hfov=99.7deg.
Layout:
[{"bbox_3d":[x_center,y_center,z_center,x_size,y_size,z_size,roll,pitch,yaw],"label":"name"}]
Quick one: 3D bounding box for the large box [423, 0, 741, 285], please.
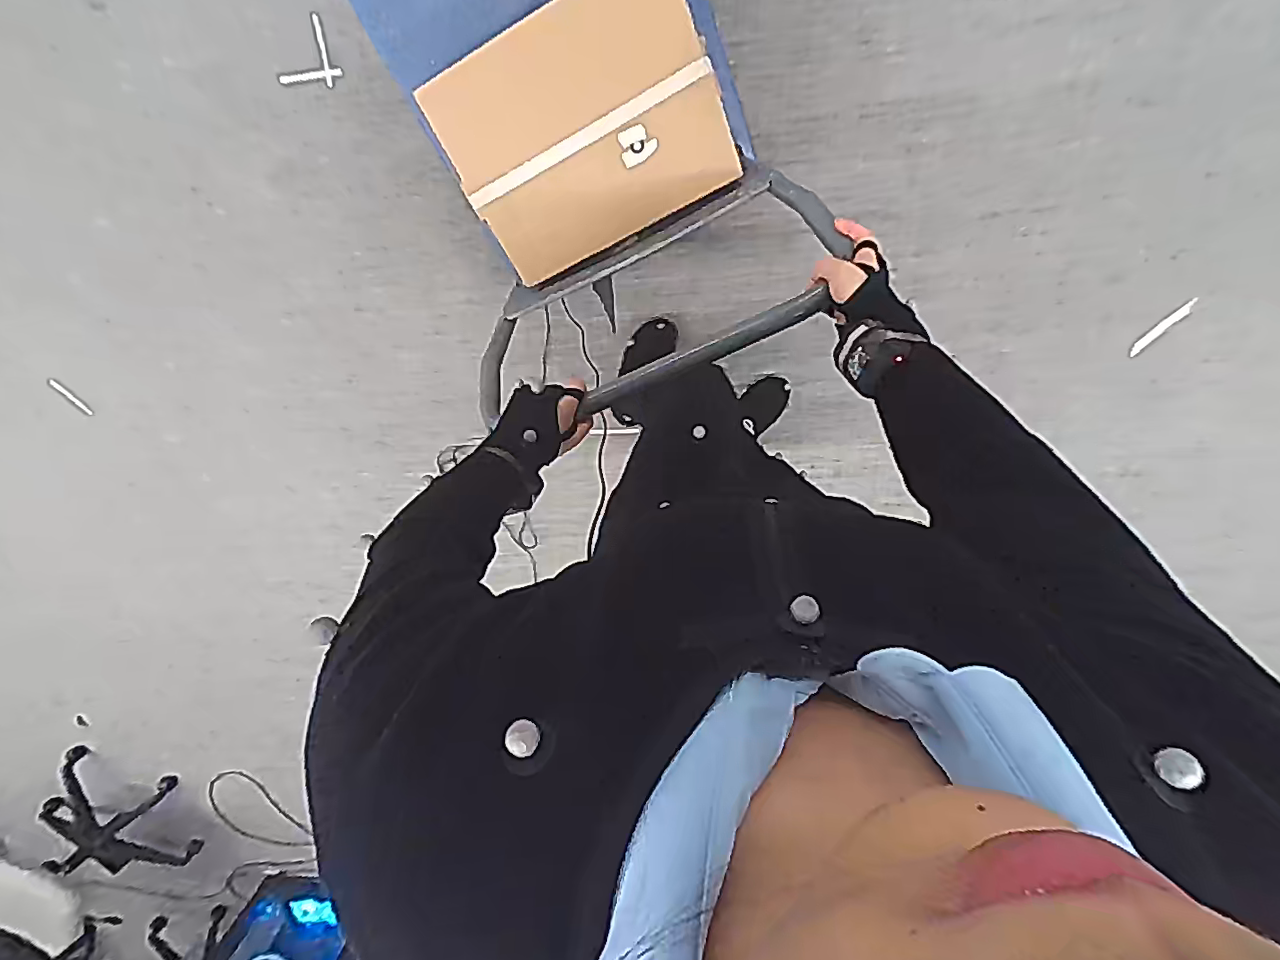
[{"bbox_3d":[-0.088,-0.611,0.953,0.408,0.320,0.320,-24,122,13],"label":"large box"}]
